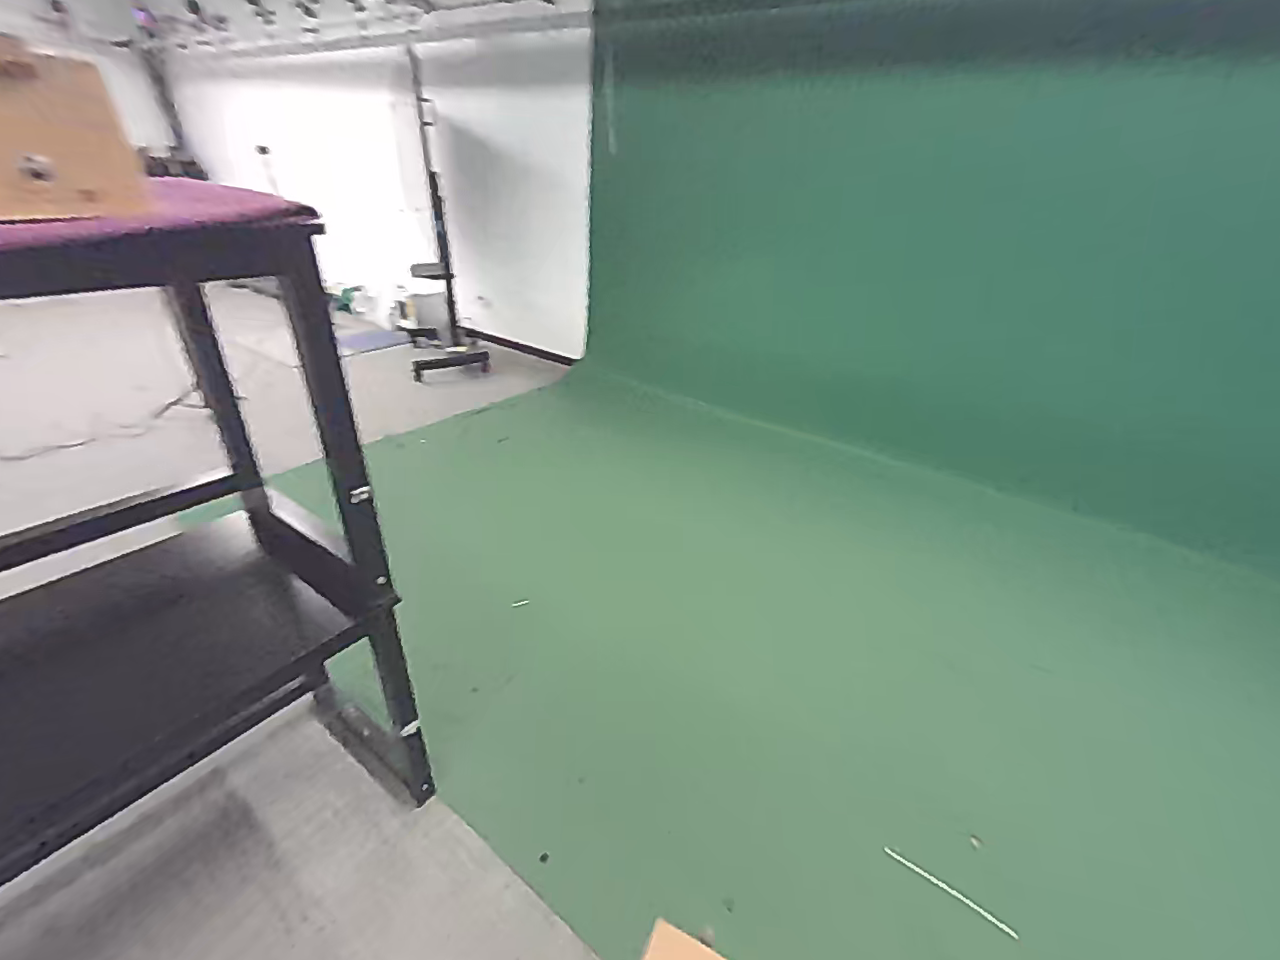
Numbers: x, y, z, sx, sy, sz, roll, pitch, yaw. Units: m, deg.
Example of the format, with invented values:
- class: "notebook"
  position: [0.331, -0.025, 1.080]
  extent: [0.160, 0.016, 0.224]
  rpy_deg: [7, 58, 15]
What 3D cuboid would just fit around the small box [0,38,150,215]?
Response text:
- class: "small box"
  position: [-0.743, -0.416, 0.650]
  extent: [0.179, 0.176, 0.168]
  rpy_deg: [23, 36, 33]
